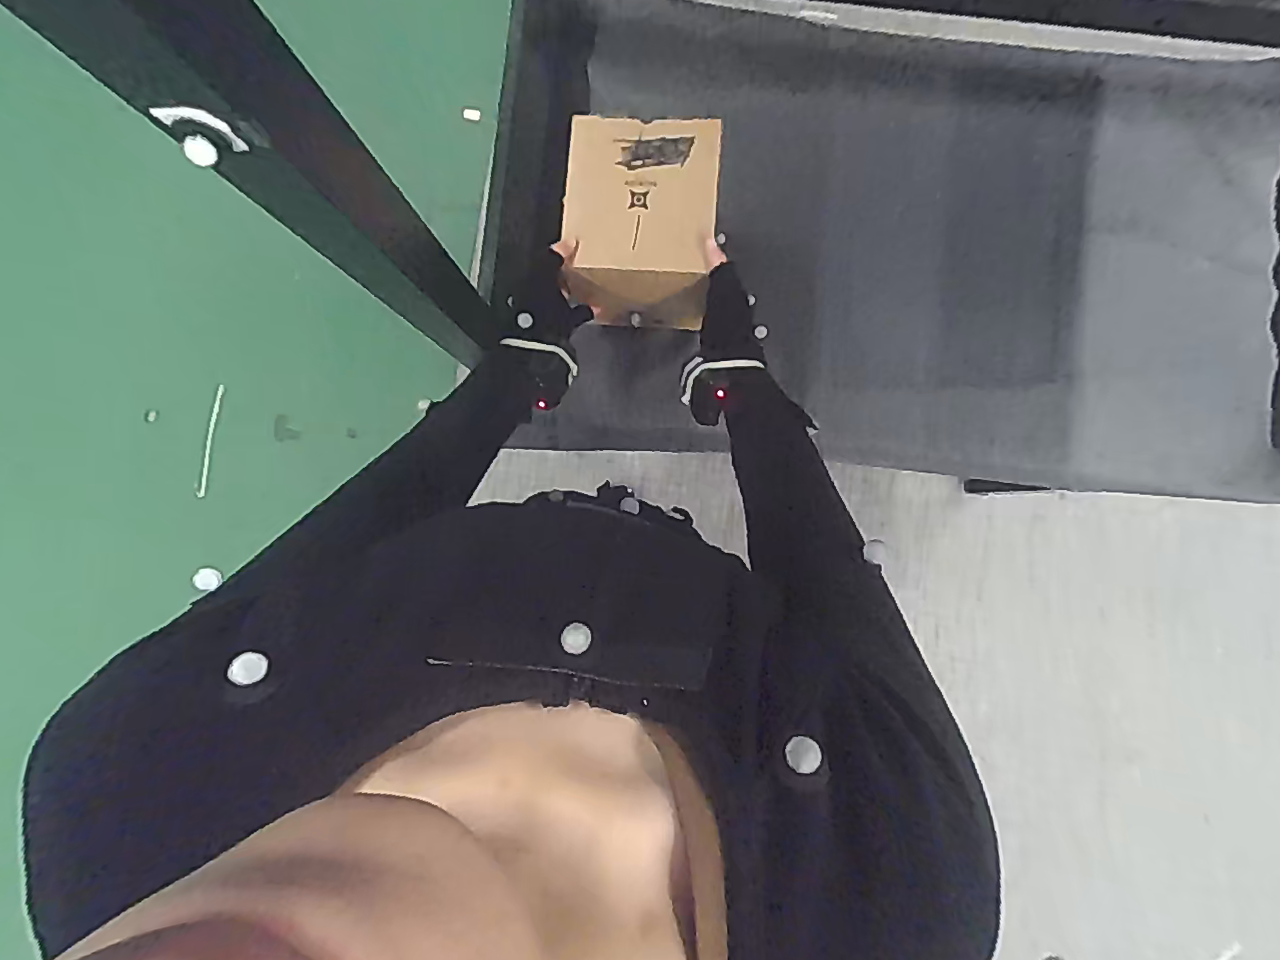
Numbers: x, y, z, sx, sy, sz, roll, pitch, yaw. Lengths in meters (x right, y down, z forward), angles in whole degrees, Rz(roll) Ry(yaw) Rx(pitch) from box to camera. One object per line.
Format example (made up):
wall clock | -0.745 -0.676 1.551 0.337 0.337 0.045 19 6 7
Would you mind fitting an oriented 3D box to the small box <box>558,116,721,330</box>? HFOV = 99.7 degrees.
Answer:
small box | 0.004 -0.303 0.665 0.168 0.176 0.179 4 86 4
